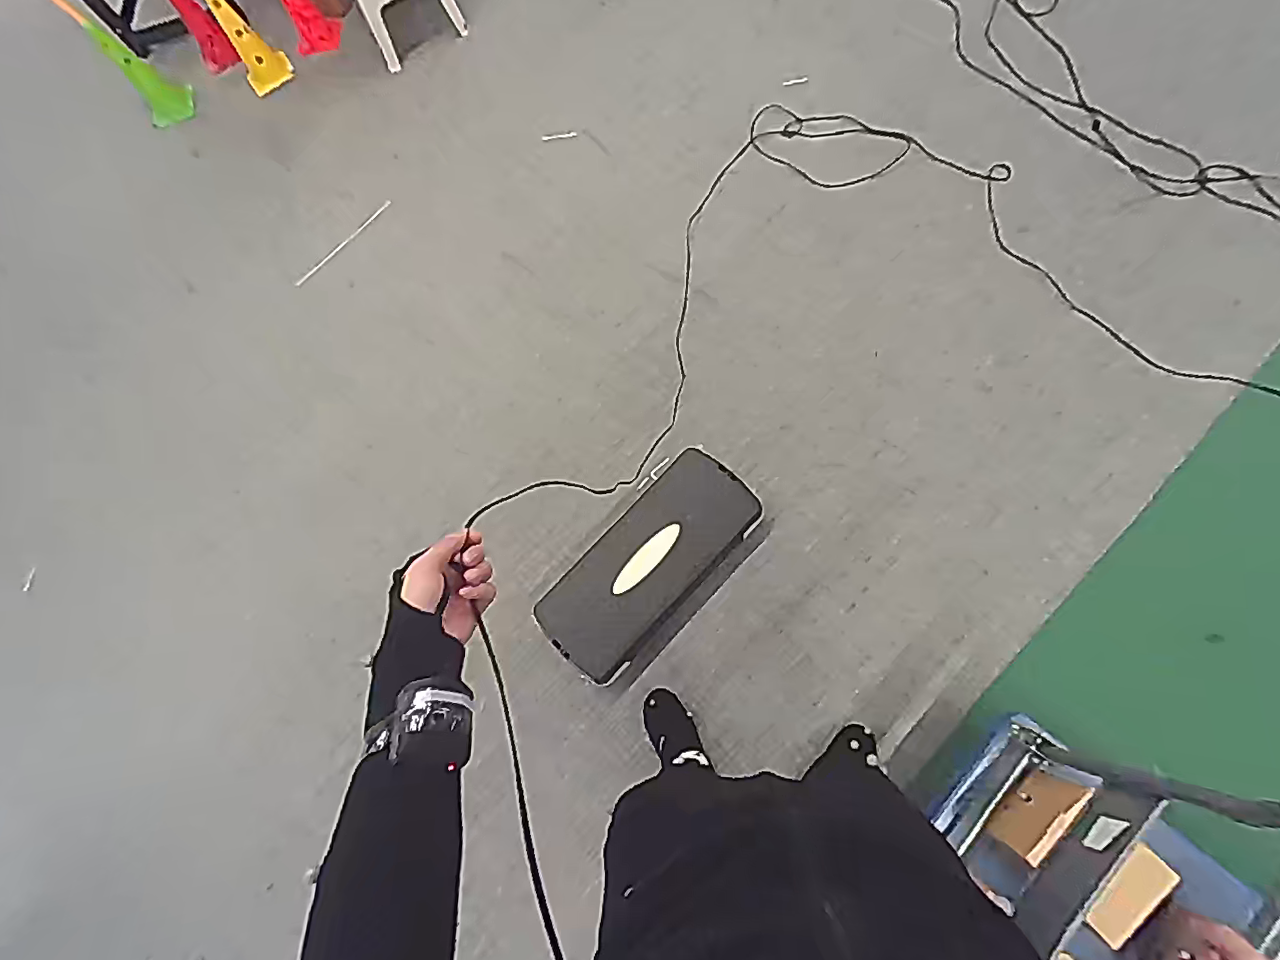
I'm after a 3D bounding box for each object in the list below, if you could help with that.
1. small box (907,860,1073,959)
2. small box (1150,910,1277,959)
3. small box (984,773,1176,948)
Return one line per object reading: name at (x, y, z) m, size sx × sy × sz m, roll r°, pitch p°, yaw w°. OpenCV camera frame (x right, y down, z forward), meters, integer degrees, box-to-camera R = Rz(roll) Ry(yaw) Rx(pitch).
small box at (0.612, 0.835, 0.966) m, size 0.168 × 0.176 × 0.179 m, roll 36°, pitch 82°, yaw 17°
small box at (1.006, 0.867, 0.897) m, size 0.179 × 0.176 × 0.168 m, roll 31°, pitch 81°, yaw 16°
small box at (0.787, 0.676, 0.990) m, size 0.168 × 0.176 × 0.179 m, roll -42°, pitch 71°, yaw -4°
